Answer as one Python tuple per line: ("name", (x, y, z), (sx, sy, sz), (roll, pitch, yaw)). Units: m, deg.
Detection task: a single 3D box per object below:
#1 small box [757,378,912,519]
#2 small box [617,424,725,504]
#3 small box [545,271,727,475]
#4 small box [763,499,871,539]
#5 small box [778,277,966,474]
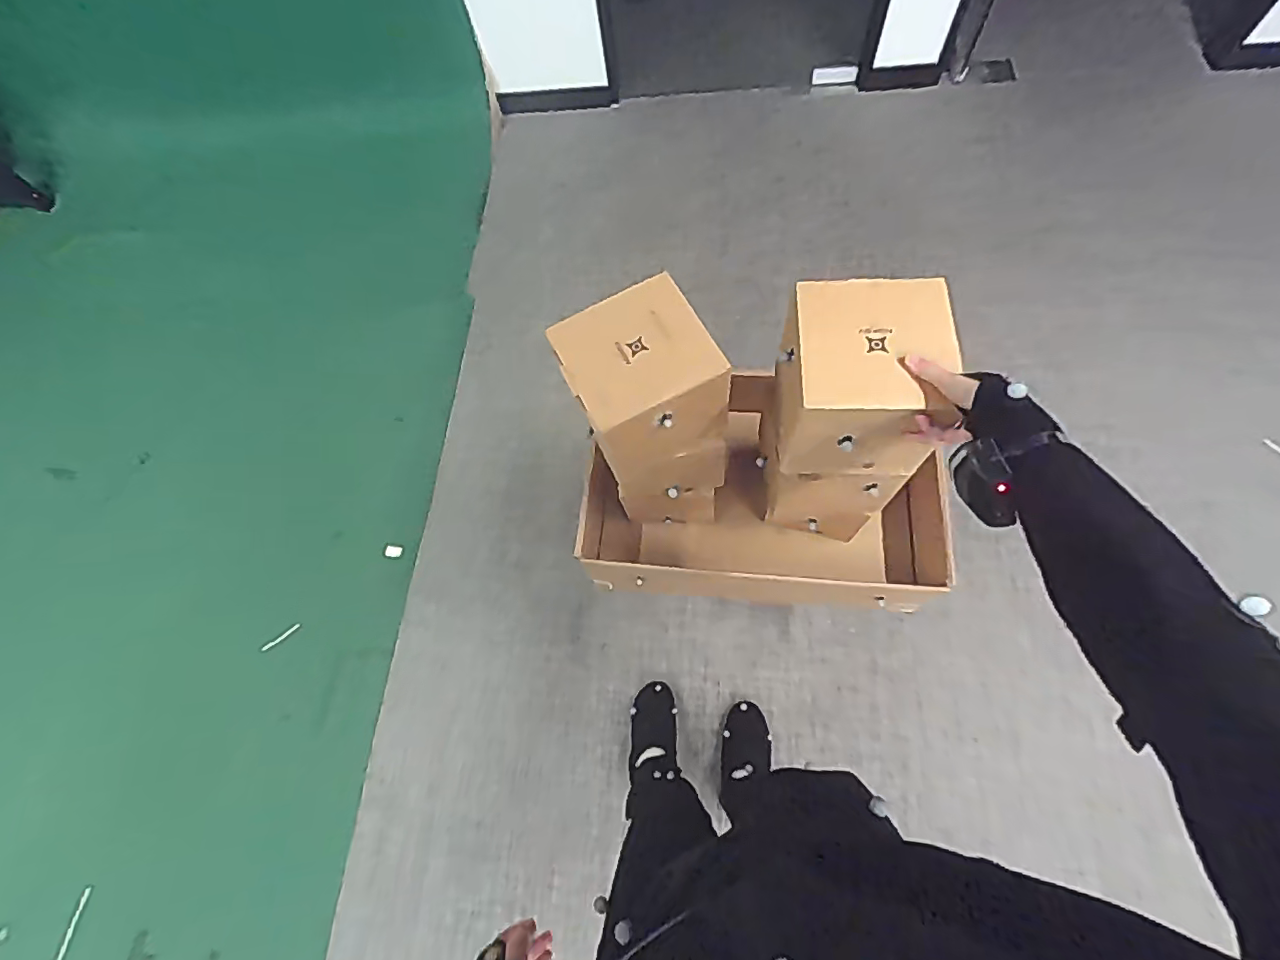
("small box", (0.282, -0.047, 0.824), (0.179, 0.176, 0.168), (-5, 67, 6))
("small box", (0.034, -0.081, 0.868), (0.168, 0.176, 0.179), (-13, 68, 2))
("small box", (0.001, -0.131, 0.716), (0.179, 0.176, 0.168), (-26, 69, -4))
("small box", (0.324, -0.007, 0.981), (0.168, 0.176, 0.179), (13, 71, 11))
("small box", (0.262, -0.117, 0.656), (0.168, 0.176, 0.179), (1, 65, 7))
